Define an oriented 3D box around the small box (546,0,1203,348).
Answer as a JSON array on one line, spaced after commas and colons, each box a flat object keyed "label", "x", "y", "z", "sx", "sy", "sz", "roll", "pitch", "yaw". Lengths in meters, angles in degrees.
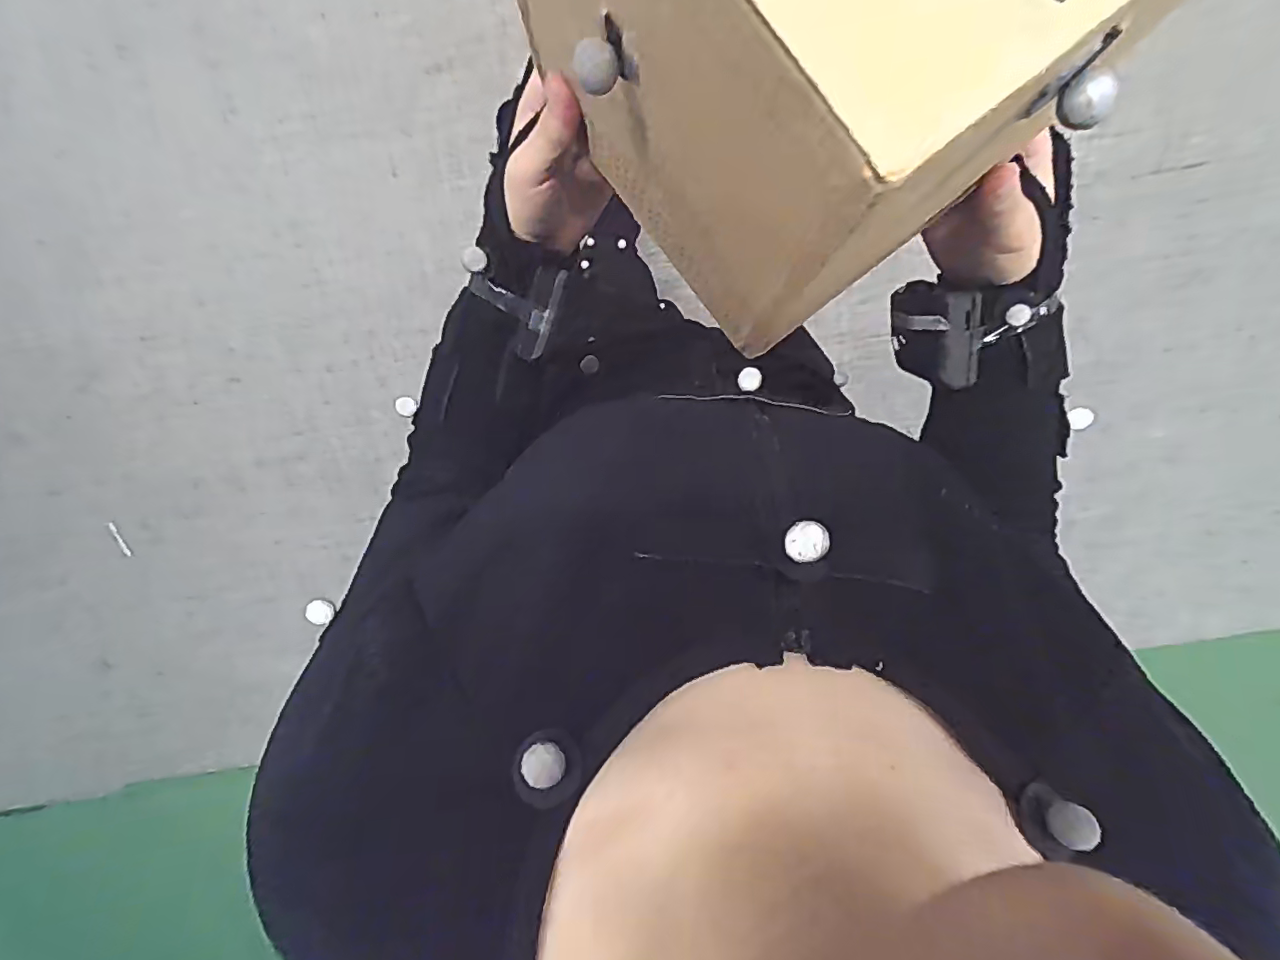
[{"label": "small box", "x": 0.071, "y": -0.178, "z": 0.202, "sx": 0.168, "sy": 0.176, "sz": 0.179, "roll": -38, "pitch": 88, "yaw": 2}]
